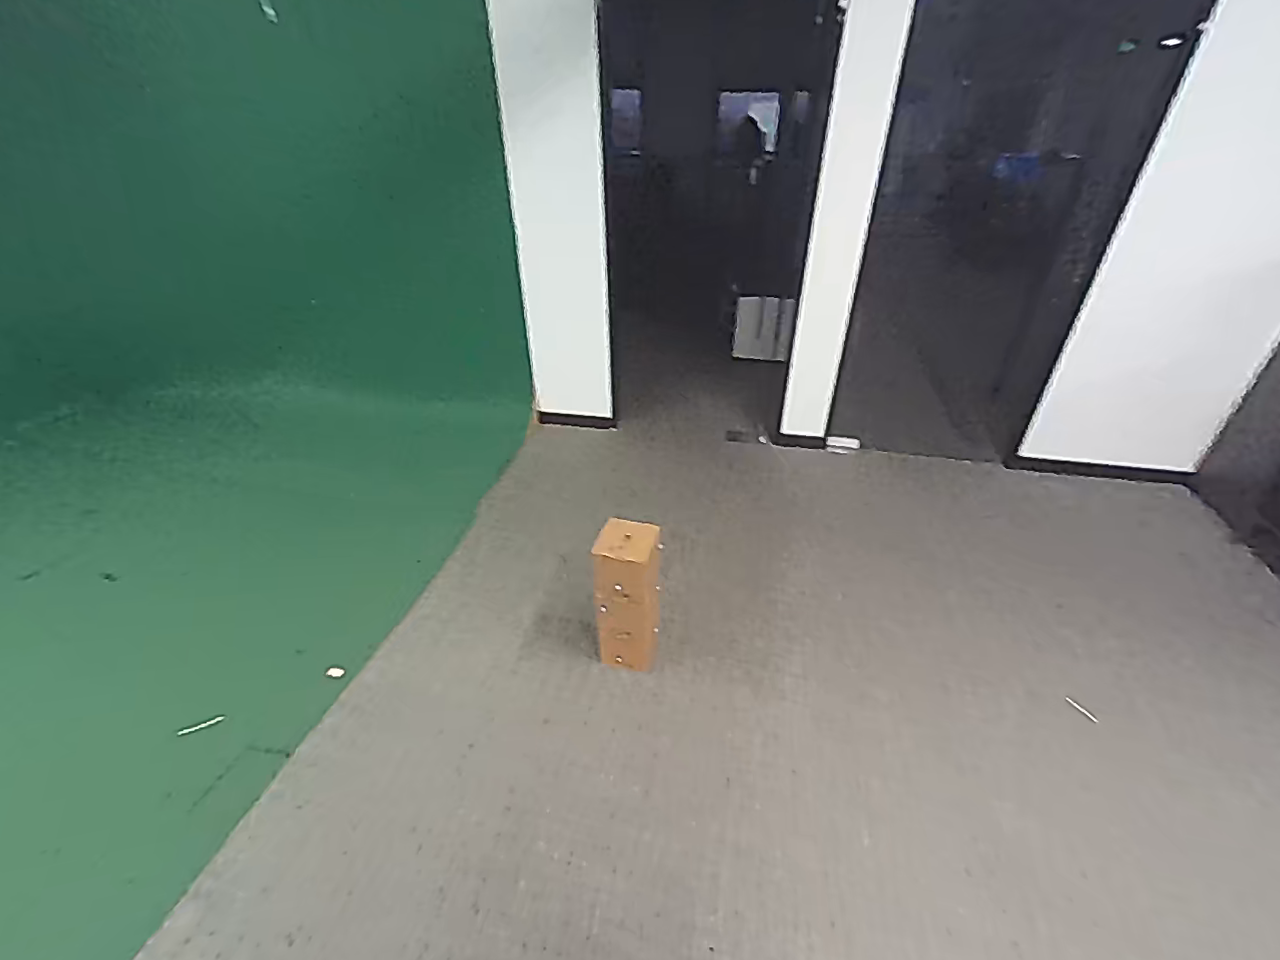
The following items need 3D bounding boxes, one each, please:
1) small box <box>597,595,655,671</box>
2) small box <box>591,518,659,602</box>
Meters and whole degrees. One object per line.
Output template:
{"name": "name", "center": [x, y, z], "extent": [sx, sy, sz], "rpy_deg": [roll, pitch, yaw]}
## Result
{"name": "small box", "center": [-0.046, 0.519, 1.845], "extent": [0.168, 0.176, 0.179], "rpy_deg": [7, 35, 10]}
{"name": "small box", "center": [-0.045, 0.244, 1.664], "extent": [0.168, 0.176, 0.179], "rpy_deg": [9, 35, 13]}
